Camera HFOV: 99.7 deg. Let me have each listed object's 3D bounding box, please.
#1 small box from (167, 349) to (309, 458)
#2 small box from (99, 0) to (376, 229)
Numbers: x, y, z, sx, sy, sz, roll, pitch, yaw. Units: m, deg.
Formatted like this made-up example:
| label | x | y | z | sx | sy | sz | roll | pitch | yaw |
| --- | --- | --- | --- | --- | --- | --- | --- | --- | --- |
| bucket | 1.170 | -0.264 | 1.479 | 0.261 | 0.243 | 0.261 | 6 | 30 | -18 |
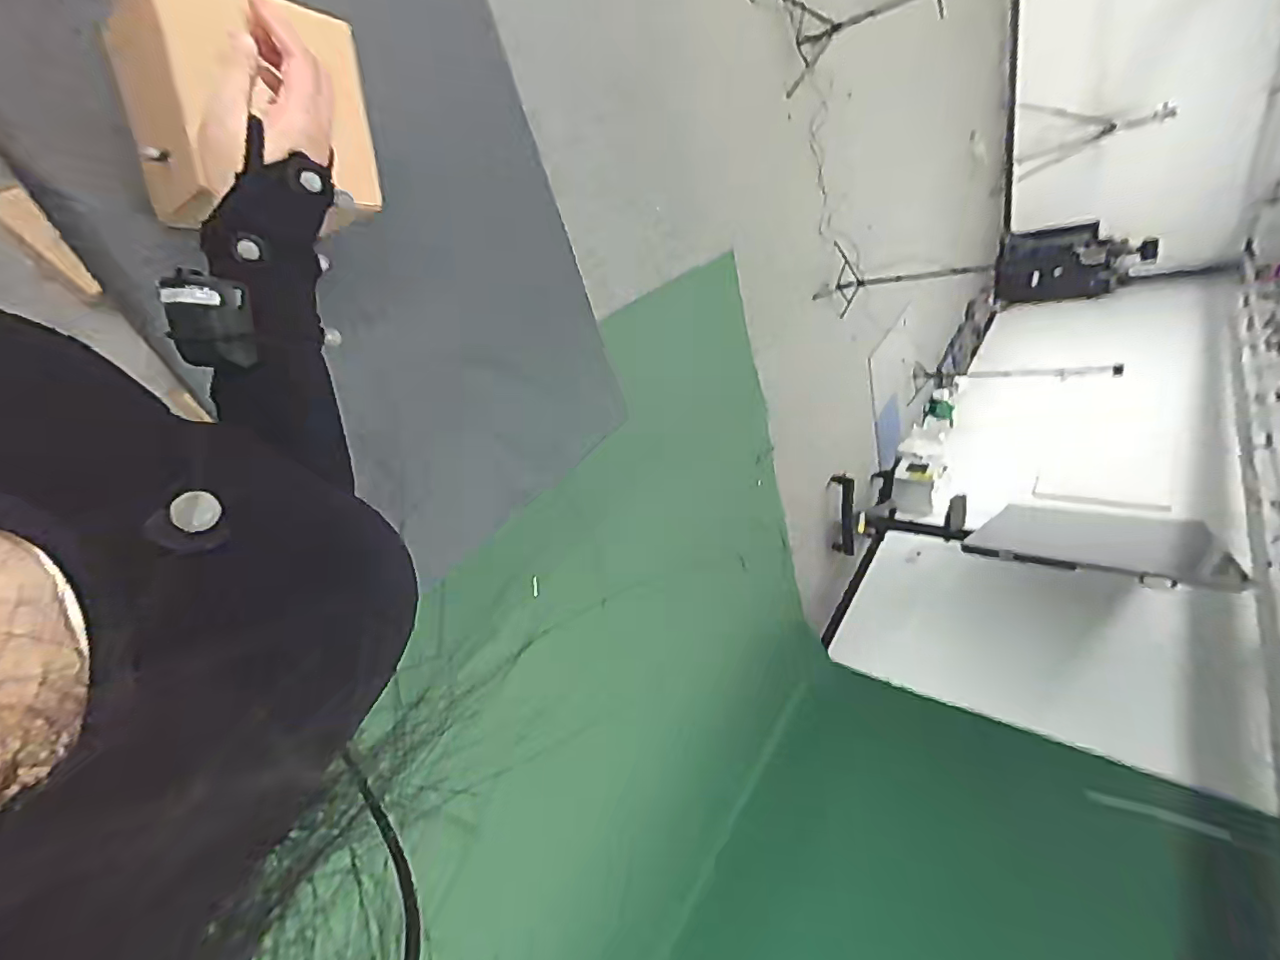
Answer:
| label | x | y | z | sx | sy | sz | roll | pitch | yaw |
| --- | --- | --- | --- | --- | --- | --- | --- | --- | --- |
| small box | -0.872 | -0.168 | 1.170 | 0.179 | 0.176 | 0.168 | -49 | 131 | -33 |
| small box | -0.404 | -0.367 | 0.551 | 0.168 | 0.176 | 0.179 | -23 | 113 | -49 |
